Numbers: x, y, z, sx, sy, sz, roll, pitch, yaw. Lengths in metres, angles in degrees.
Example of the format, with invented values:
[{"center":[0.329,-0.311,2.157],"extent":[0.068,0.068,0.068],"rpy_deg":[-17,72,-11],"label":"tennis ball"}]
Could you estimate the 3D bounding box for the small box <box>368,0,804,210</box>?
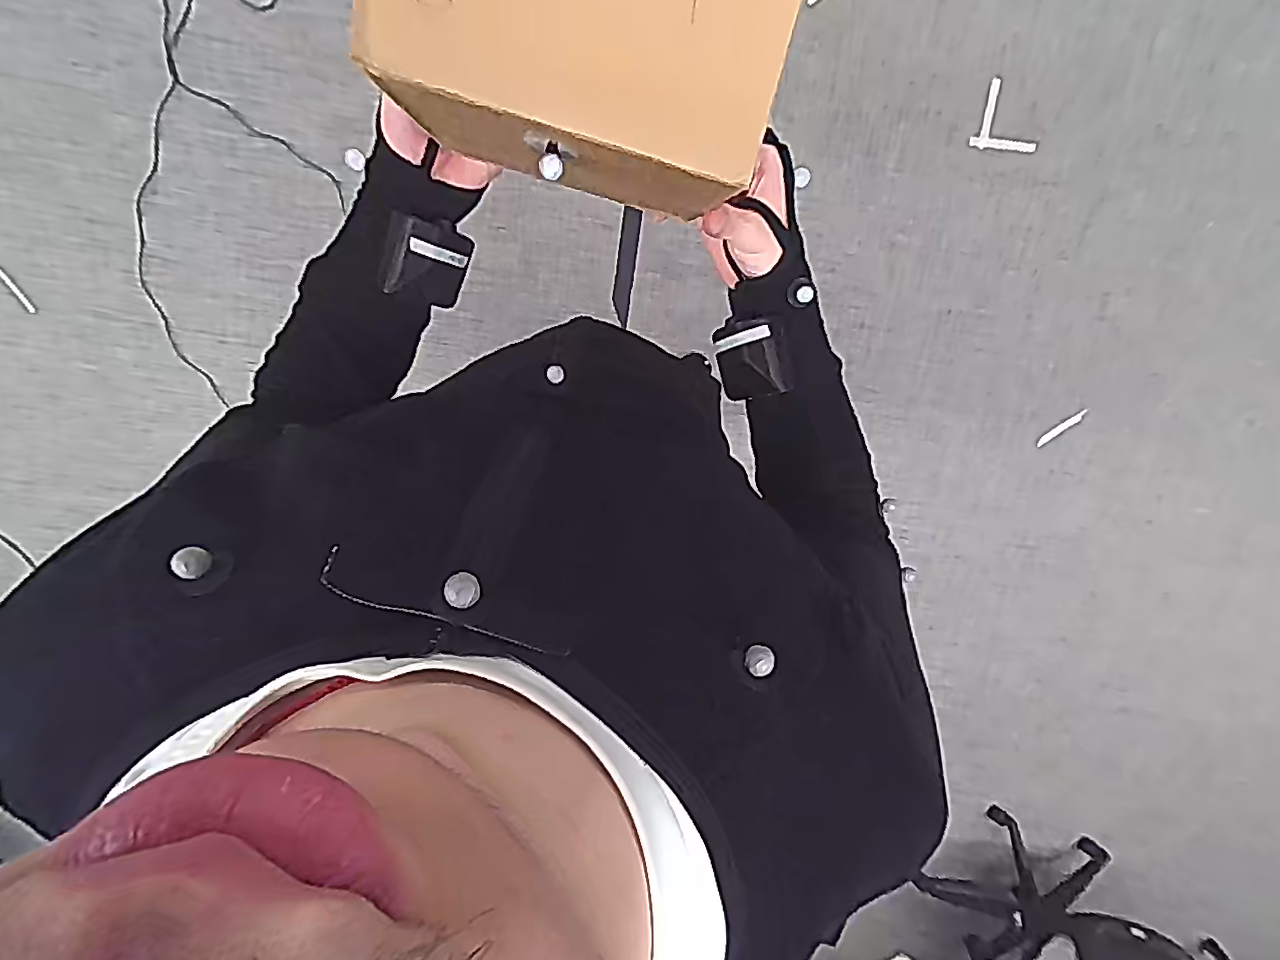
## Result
[{"center":[-0.018,-0.259,0.290],"extent":[0.179,0.176,0.168],"rpy_deg":[12,110,-11],"label":"small box"}]
